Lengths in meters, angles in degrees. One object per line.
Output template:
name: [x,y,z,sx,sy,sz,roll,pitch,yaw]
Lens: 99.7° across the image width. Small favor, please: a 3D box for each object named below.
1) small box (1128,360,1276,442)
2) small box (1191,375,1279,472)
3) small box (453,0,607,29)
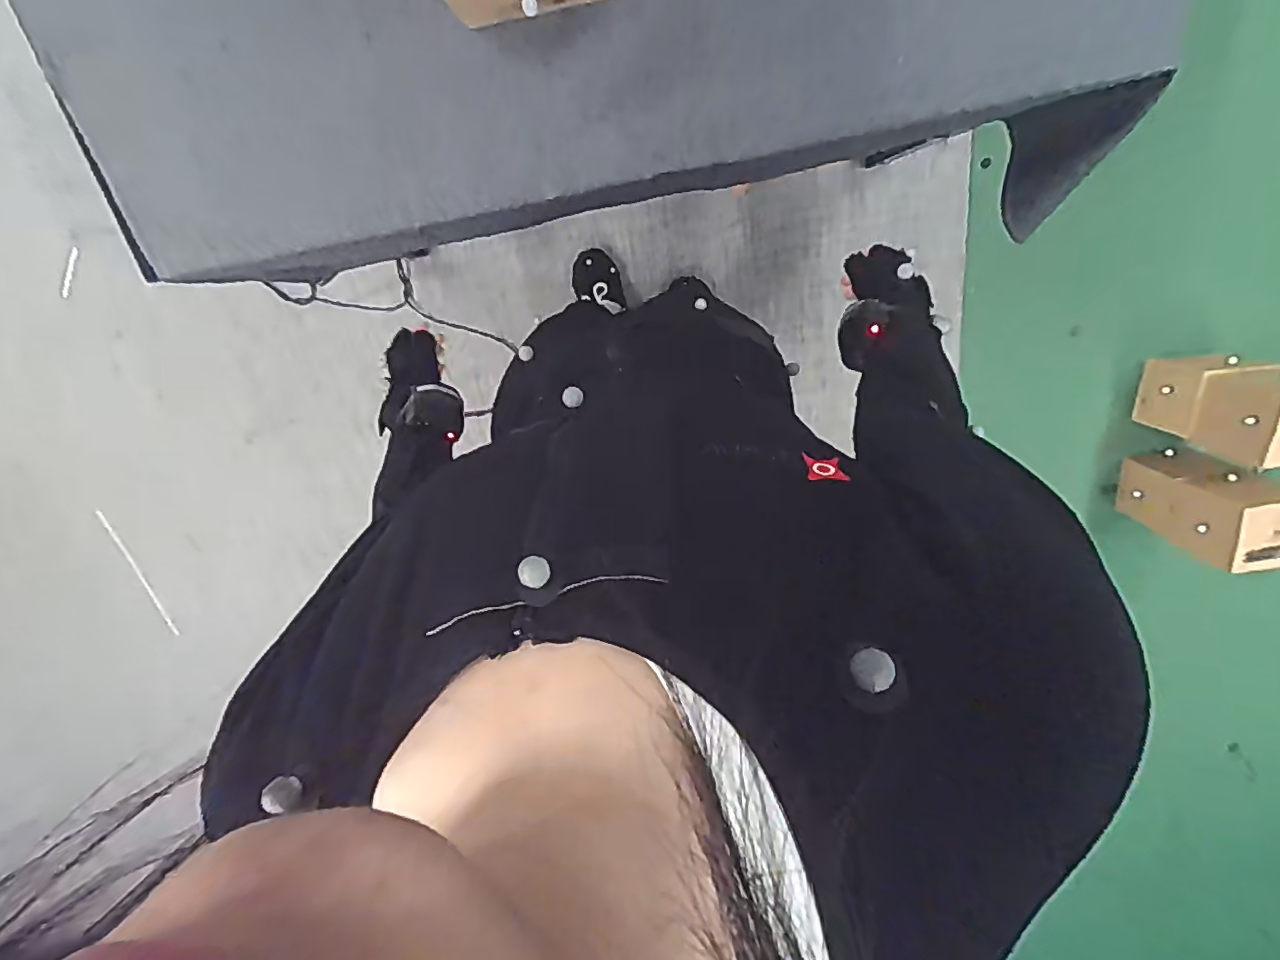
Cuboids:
small box: [1.383,-0.200,1.347,0.179,0.176,0.168,-4,111,2]
small box: [1.392,-0.132,1.196,0.168,0.176,0.179,-5,111,3]
small box: [-0.118,-0.535,0.461,0.168,0.176,0.179,-8,112,5]
